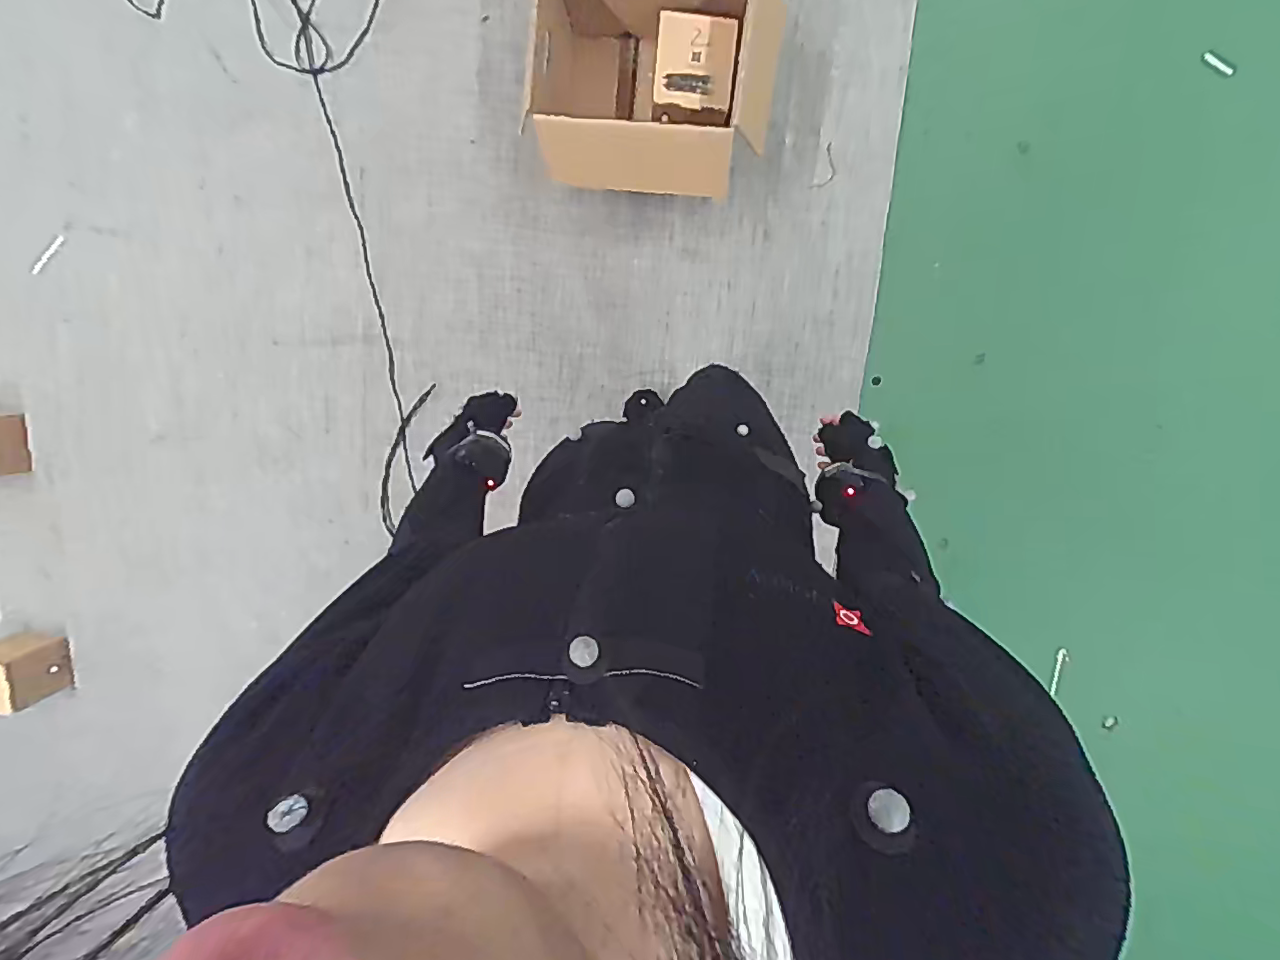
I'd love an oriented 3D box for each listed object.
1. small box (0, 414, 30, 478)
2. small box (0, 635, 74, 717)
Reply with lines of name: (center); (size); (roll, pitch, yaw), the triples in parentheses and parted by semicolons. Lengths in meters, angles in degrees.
small box: (-1.854, -0.094, 1.482); (0.168, 0.176, 0.179); (3, 102, 2)
small box: (-1.871, 0.578, 1.617); (0.179, 0.176, 0.168); (3, 102, 2)
